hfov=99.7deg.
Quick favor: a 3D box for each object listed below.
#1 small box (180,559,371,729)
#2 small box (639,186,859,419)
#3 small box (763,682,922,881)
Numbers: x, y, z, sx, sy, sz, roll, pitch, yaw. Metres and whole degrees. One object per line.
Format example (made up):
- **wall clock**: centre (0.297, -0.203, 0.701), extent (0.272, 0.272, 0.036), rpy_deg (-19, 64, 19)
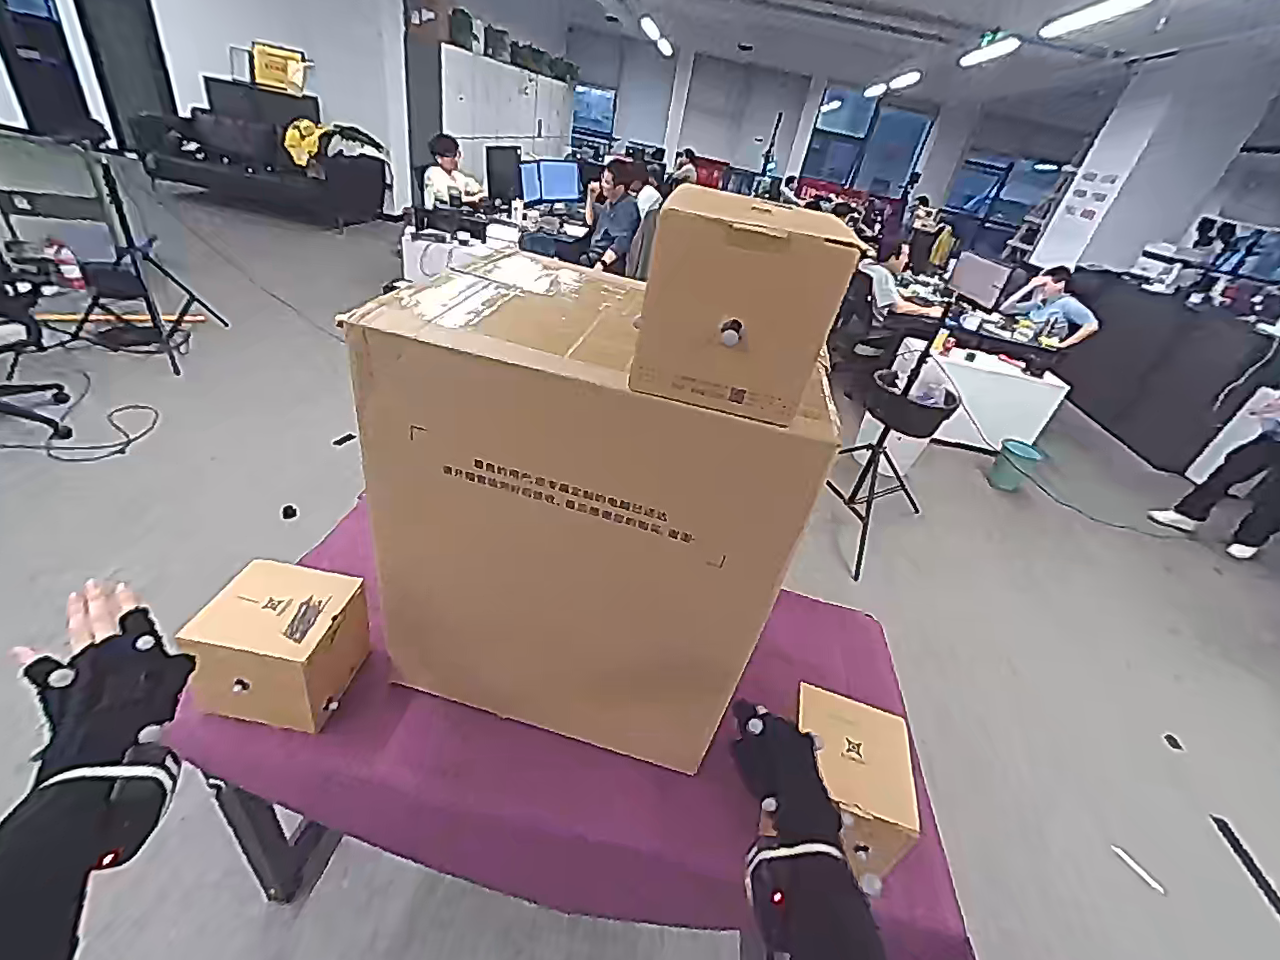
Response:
- **small box**: centre (-0.536, 0.252, 0.828), extent (0.179, 0.176, 0.168), rpy_deg (12, 31, -2)
- **small box**: centre (0.100, -0.182, 0.549), extent (0.168, 0.176, 0.179), rpy_deg (13, 35, 3)
- **small box**: centre (0.291, 0.448, 0.807), extent (0.168, 0.176, 0.179), rpy_deg (18, 32, 8)
